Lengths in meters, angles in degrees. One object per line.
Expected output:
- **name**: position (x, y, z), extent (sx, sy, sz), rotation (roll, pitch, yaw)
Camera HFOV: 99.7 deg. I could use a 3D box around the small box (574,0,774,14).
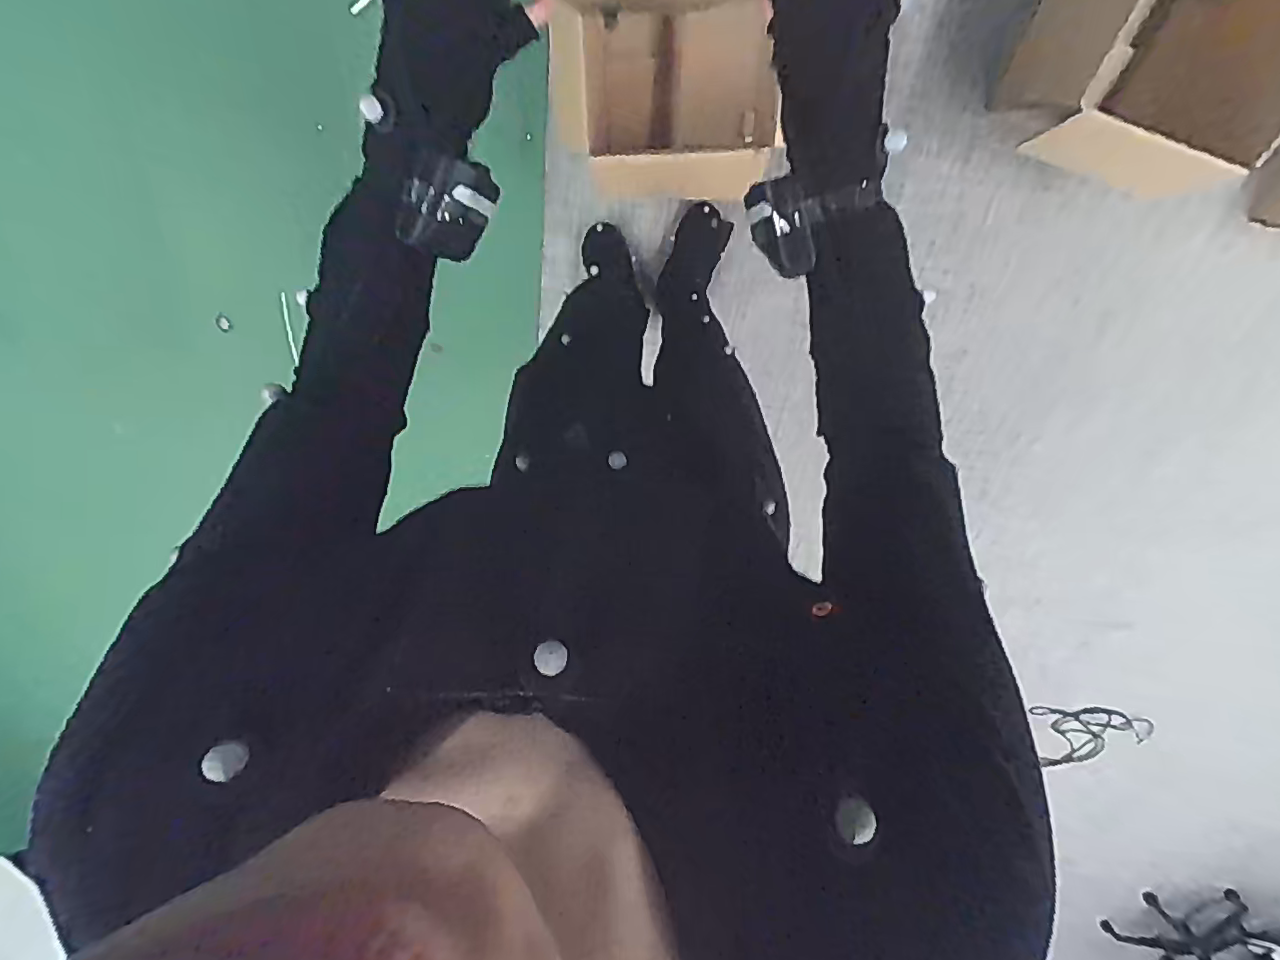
- **small box**: position (0.019, -0.416, 0.339), extent (0.168, 0.176, 0.179), rotation (4, 123, 8)
